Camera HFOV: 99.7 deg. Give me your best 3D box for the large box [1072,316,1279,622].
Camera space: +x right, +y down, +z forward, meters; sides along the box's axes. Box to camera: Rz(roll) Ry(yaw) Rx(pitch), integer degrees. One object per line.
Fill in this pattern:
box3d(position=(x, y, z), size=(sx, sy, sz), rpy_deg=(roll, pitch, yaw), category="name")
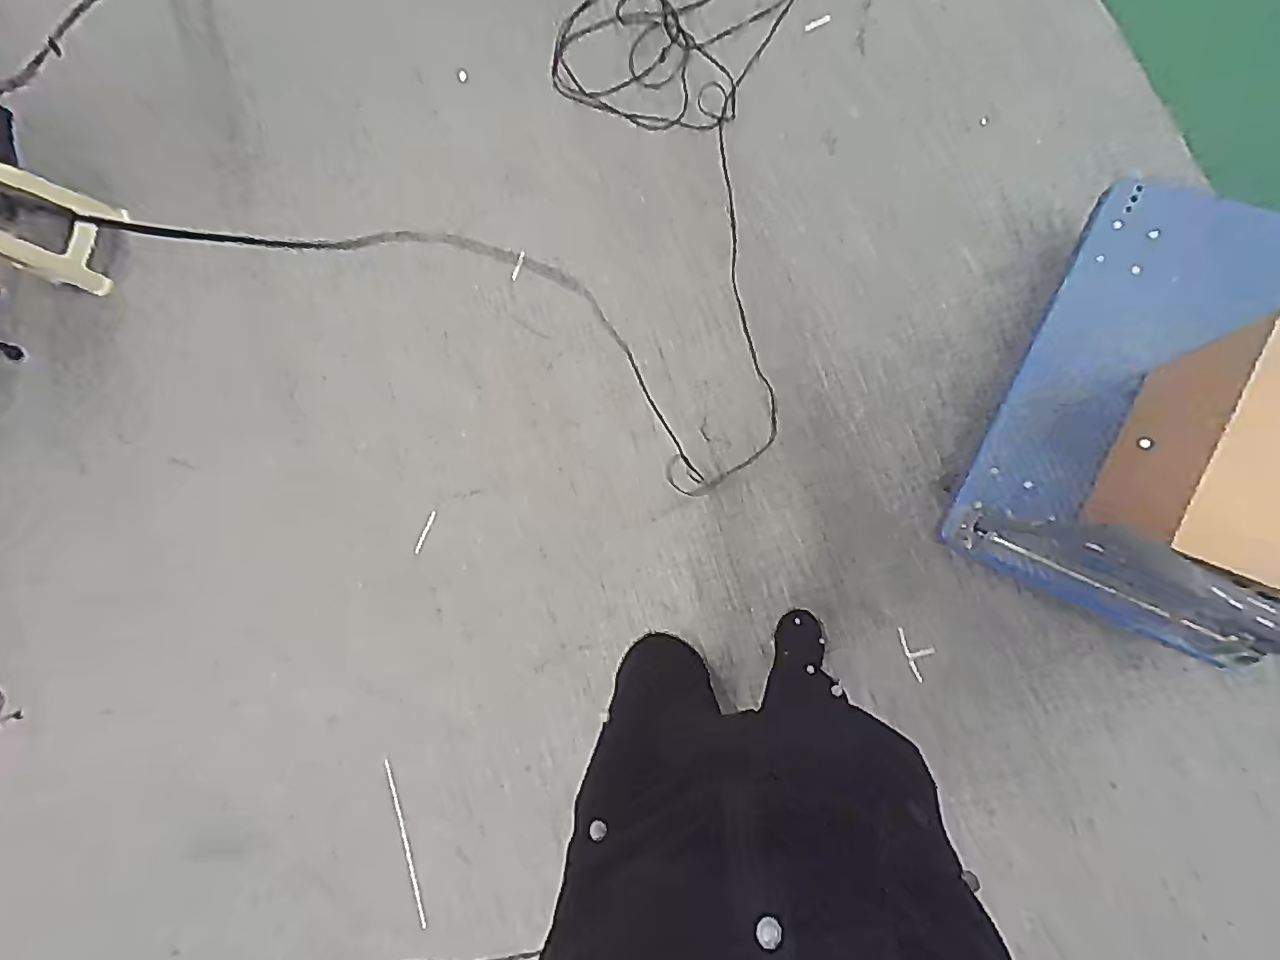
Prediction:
box3d(position=(1.055, 0.006, 0.928), size=(0.320, 0.320, 0.408), rpy_deg=(25, 90, 15), category="large box")
